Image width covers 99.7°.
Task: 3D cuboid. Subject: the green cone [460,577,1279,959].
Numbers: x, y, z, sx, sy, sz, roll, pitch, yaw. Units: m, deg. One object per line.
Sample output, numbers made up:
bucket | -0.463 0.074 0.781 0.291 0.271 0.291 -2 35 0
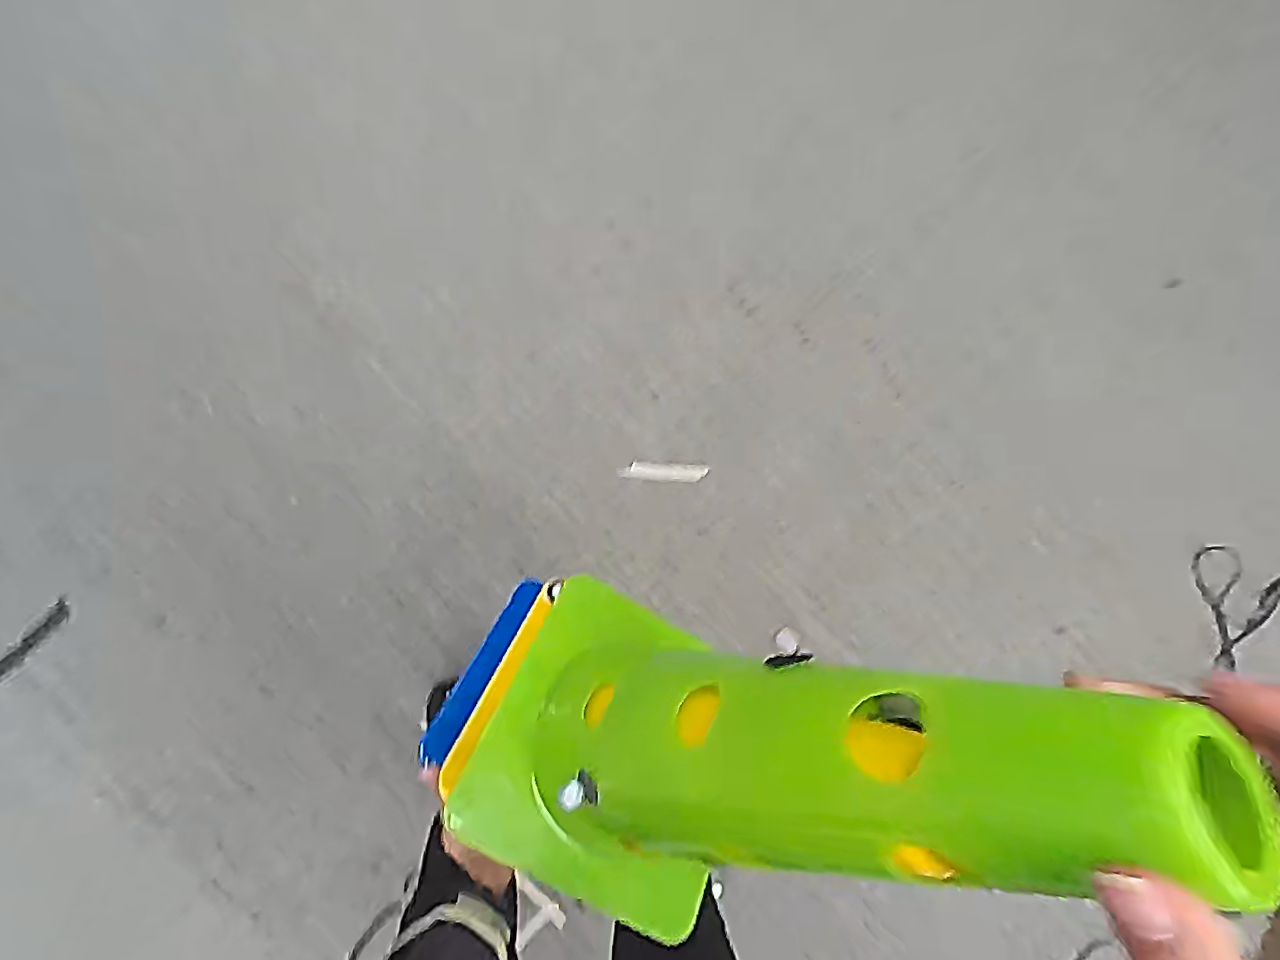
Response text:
green cone | 0.064 0.133 0.252 0.200 0.368 0.202 32 59 -9
